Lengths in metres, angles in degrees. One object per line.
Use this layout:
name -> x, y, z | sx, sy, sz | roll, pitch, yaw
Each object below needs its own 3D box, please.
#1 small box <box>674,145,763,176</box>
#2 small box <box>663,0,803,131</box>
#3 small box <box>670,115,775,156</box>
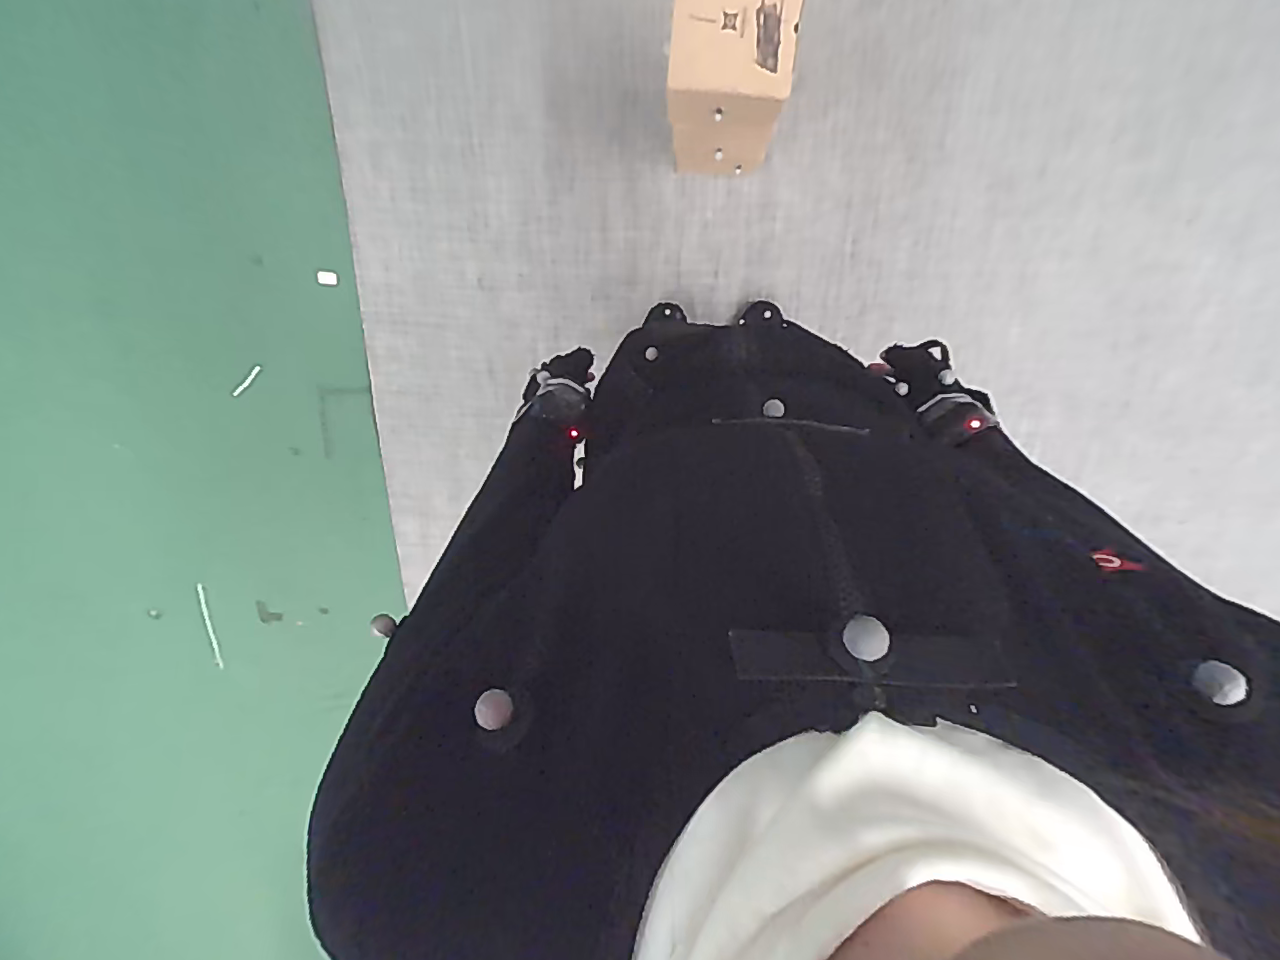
small box -> 0.164, -0.744, 1.125 | 0.179, 0.176, 0.168 | 4, 108, 4
small box -> 0.135, -0.646, 0.813 | 0.179, 0.176, 0.168 | 8, 108, 3
small box -> 0.149, -0.696, 0.969 | 0.179, 0.176, 0.168 | 5, 108, 2
